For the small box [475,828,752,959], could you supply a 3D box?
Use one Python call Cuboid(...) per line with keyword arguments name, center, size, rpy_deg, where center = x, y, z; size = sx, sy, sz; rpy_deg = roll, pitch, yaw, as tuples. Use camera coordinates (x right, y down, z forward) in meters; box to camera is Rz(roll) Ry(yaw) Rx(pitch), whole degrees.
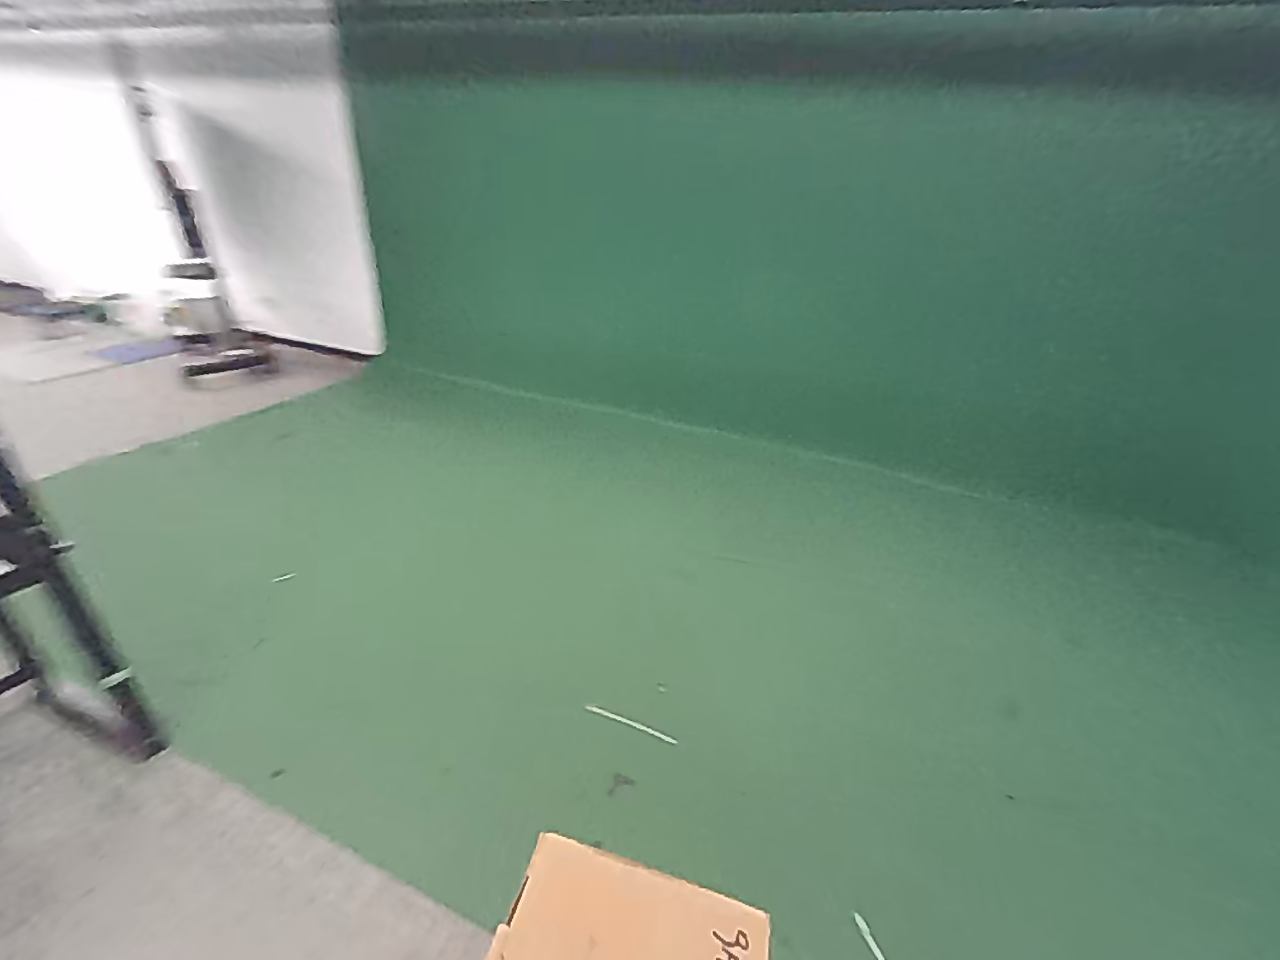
Cuboid(name="small box", center=(-0.031, 0.392, 0.383), size=(0.179, 0.176, 0.168), rpy_deg=(14, 37, 8))
